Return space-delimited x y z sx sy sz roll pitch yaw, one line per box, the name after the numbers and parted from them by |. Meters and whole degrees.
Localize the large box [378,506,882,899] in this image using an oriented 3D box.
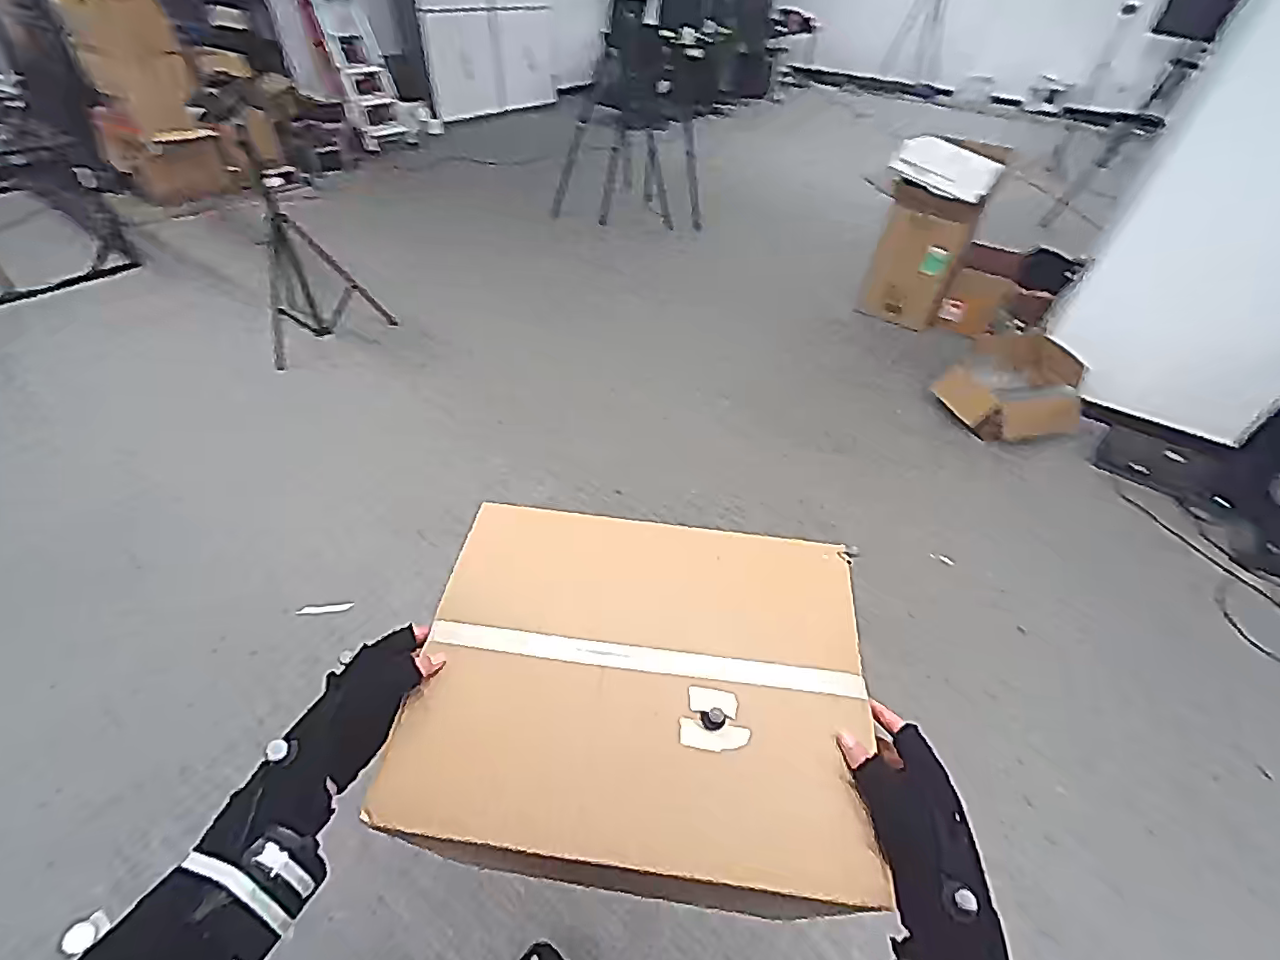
-0.003 0.260 0.625 0.408 0.320 0.320 7 51 3 | large box
